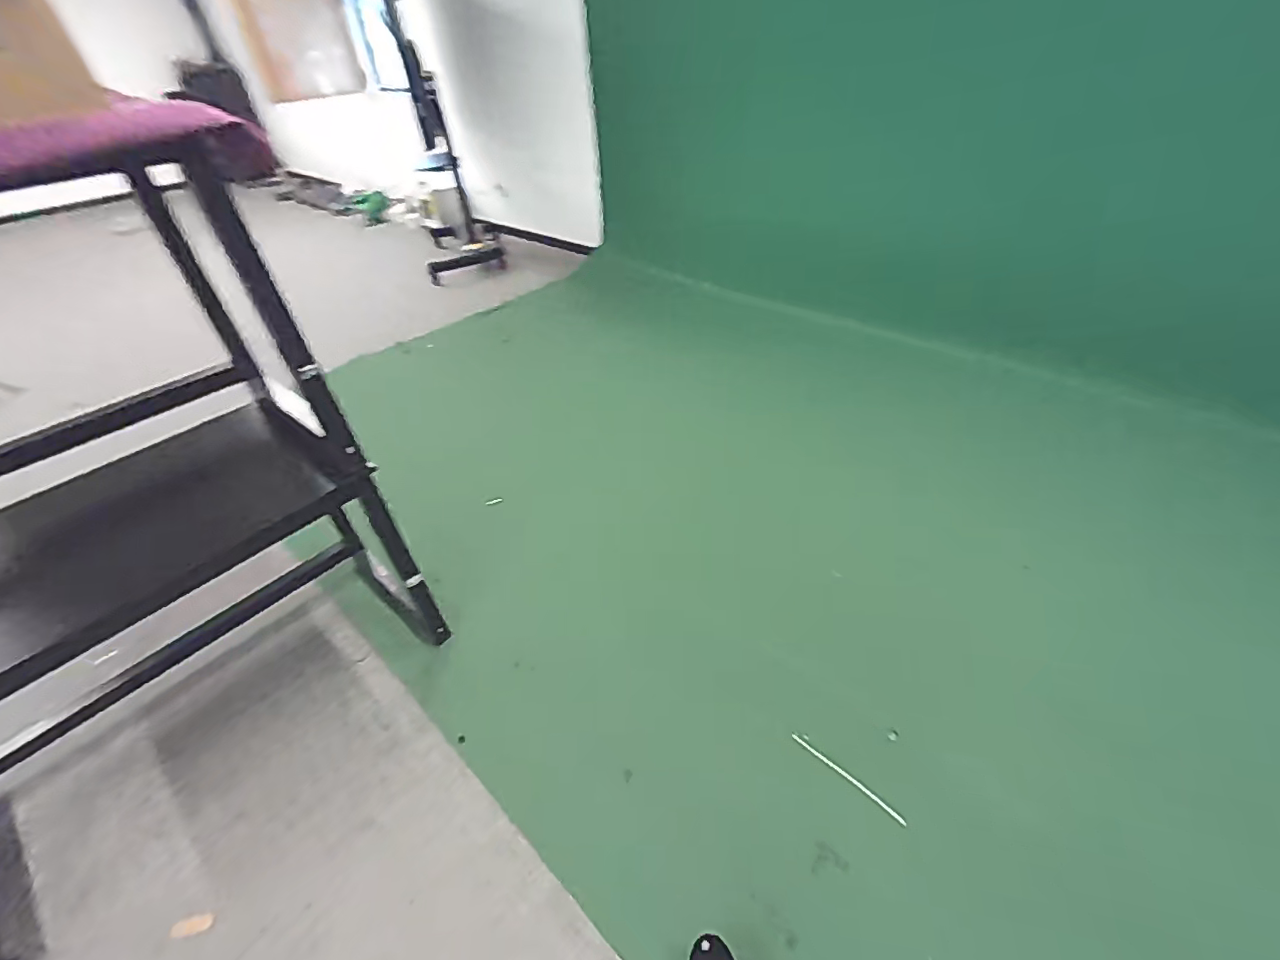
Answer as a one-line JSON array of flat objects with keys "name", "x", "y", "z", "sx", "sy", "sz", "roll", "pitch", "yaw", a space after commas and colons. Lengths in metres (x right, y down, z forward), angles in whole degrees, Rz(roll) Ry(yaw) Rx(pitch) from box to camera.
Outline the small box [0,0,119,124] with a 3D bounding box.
[{"name": "small box", "x": -0.892, "y": -0.619, "z": 0.761, "sx": 0.168, "sy": 0.176, "sz": 0.179, "roll": 29, "pitch": 52, "yaw": 33}]
